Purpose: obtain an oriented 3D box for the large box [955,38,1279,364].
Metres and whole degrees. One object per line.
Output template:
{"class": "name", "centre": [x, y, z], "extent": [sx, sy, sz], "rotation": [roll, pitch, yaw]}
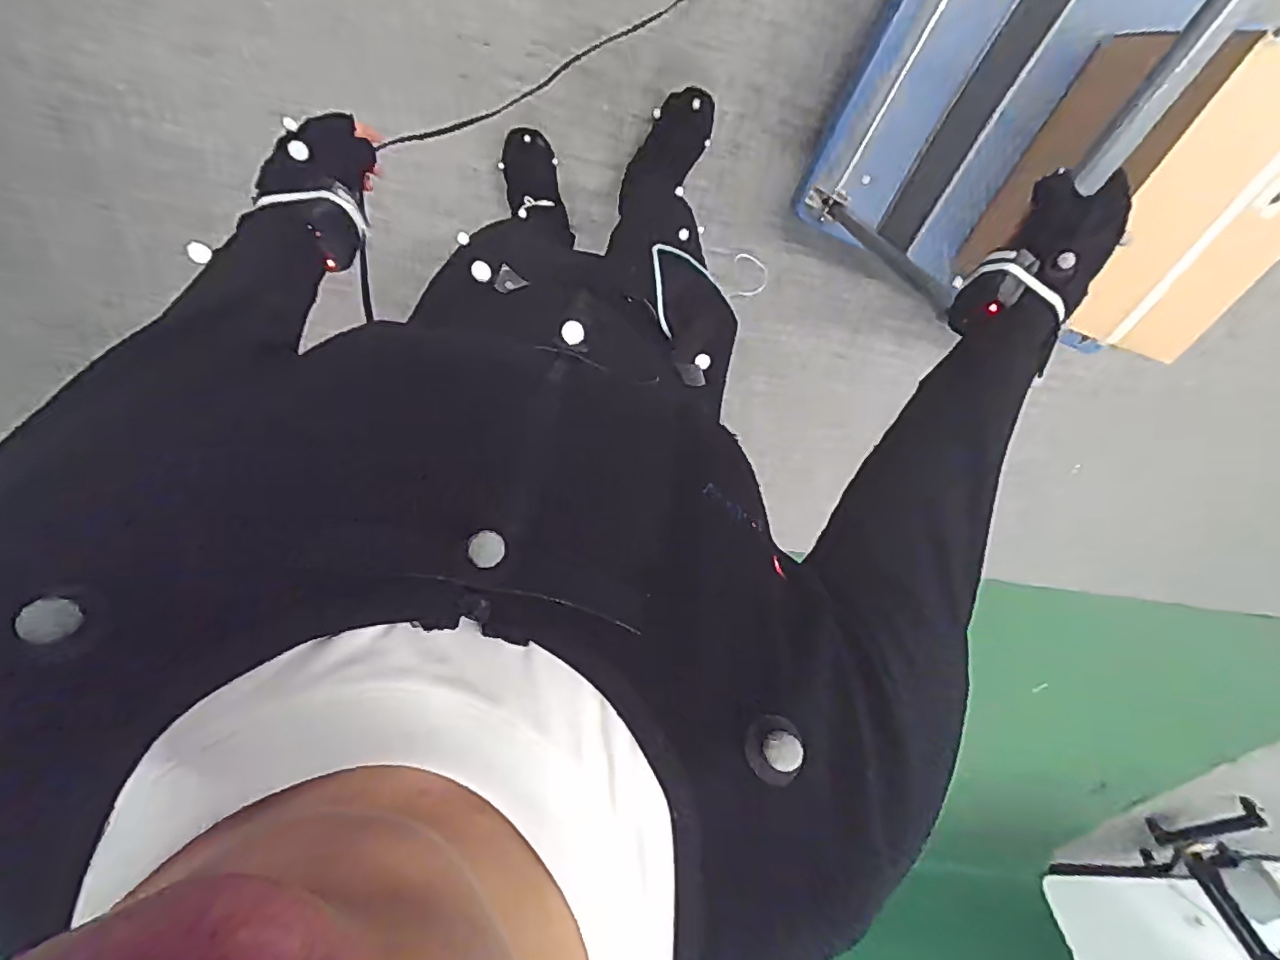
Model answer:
{"class": "large box", "centre": [0.878, -0.485, 0.969], "extent": [0.320, 0.320, 0.408], "rotation": [13, 126, -13]}
